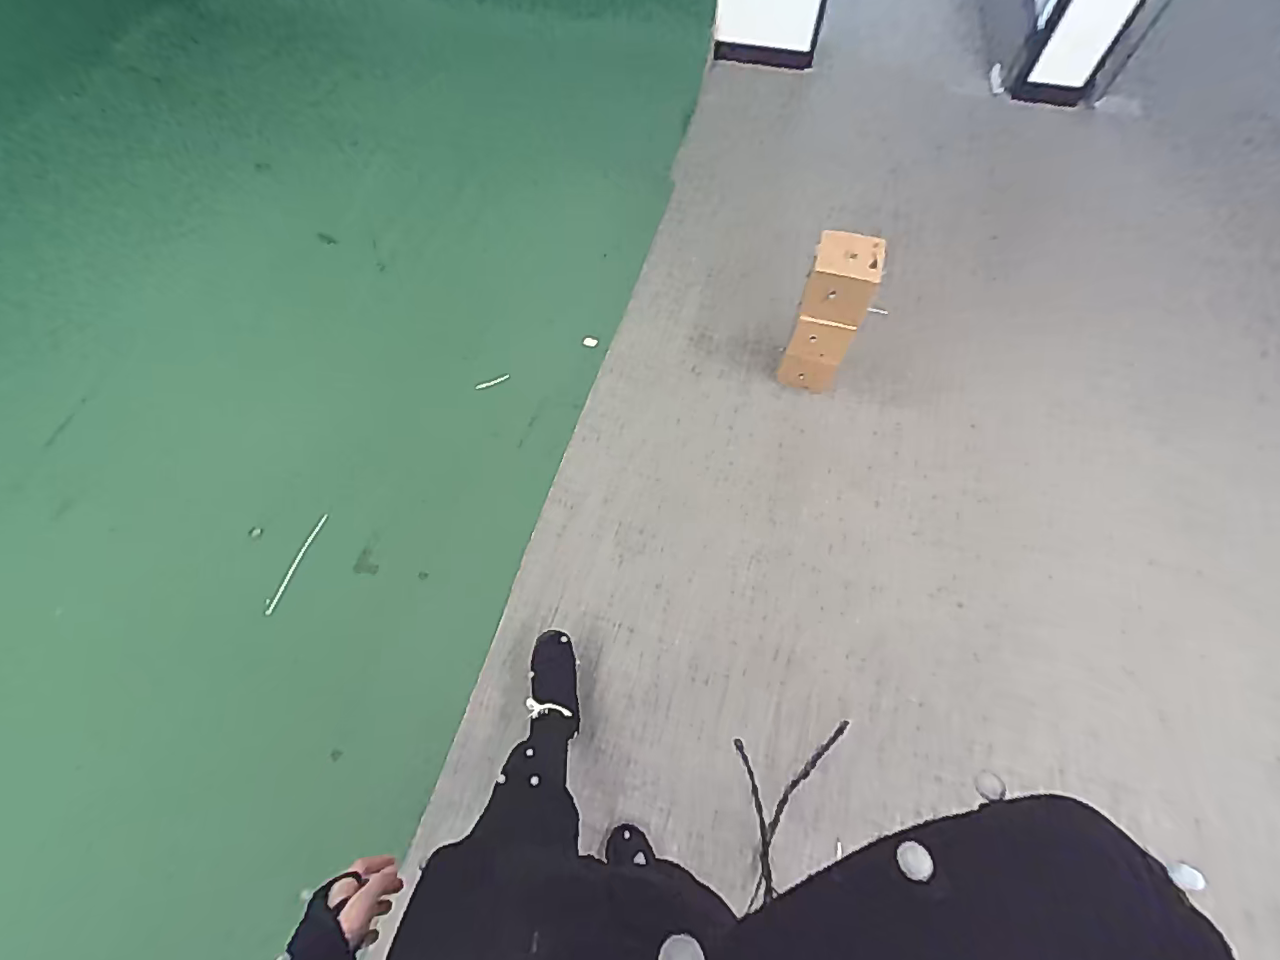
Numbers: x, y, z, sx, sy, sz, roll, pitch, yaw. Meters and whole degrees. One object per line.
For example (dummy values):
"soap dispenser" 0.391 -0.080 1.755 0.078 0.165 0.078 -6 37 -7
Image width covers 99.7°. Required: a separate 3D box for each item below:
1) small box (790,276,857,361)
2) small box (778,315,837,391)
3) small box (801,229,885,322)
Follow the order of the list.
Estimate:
"small box" 0.565 -0.492 1.659 0.168 0.176 0.179 13 65 9
"small box" 0.568 -0.423 1.806 0.168 0.176 0.179 16 66 9
"small box" 0.562 -0.567 1.512 0.179 0.176 0.168 14 66 9
